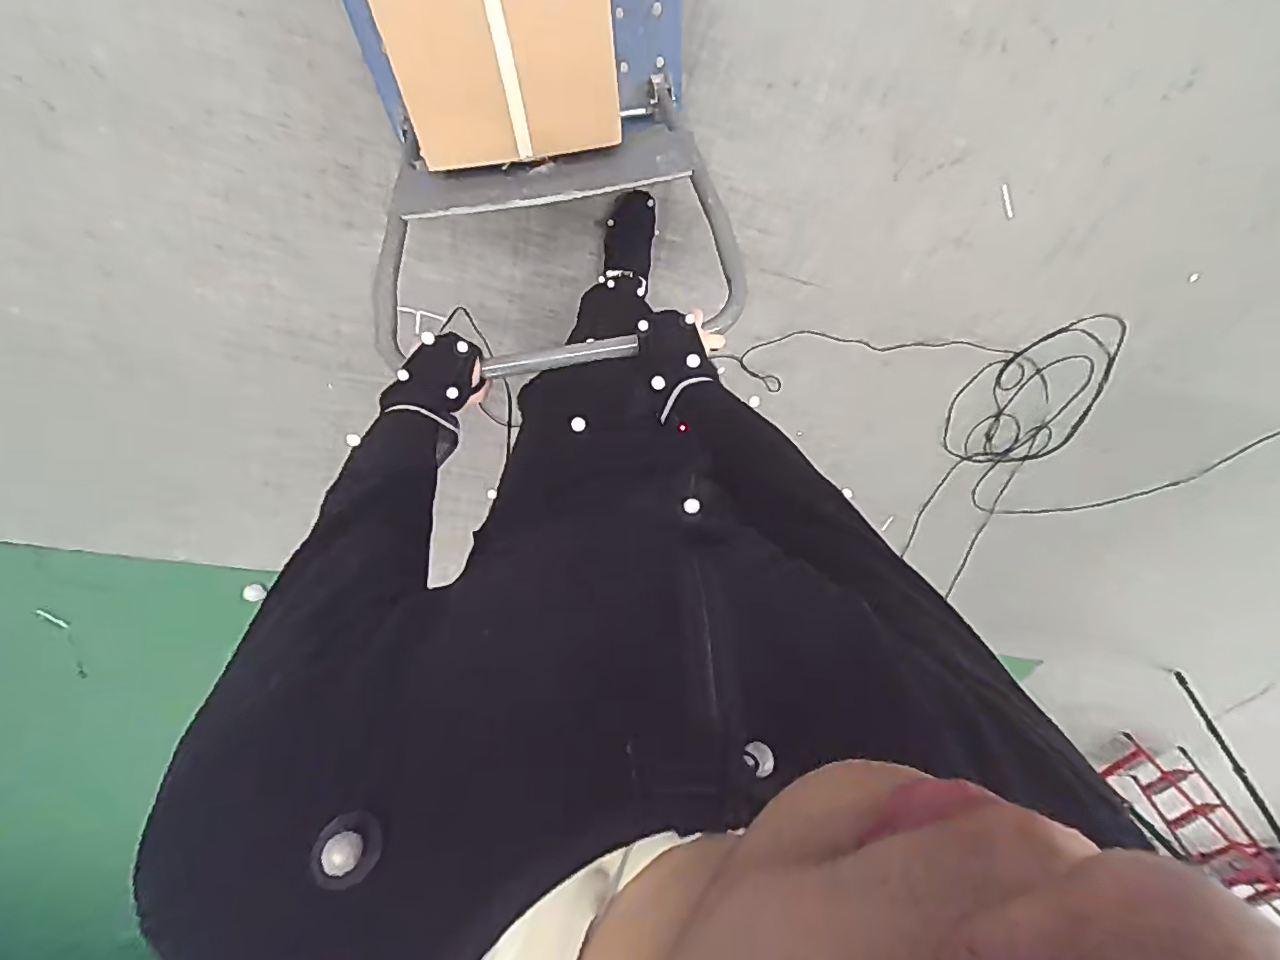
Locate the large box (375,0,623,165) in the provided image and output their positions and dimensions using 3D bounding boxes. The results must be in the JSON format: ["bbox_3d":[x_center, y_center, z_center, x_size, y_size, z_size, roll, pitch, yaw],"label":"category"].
[{"bbox_3d":[-0.216,-0.766,0.812,0.320,0.320,0.408,-10,140,-1],"label":"large box"}]
